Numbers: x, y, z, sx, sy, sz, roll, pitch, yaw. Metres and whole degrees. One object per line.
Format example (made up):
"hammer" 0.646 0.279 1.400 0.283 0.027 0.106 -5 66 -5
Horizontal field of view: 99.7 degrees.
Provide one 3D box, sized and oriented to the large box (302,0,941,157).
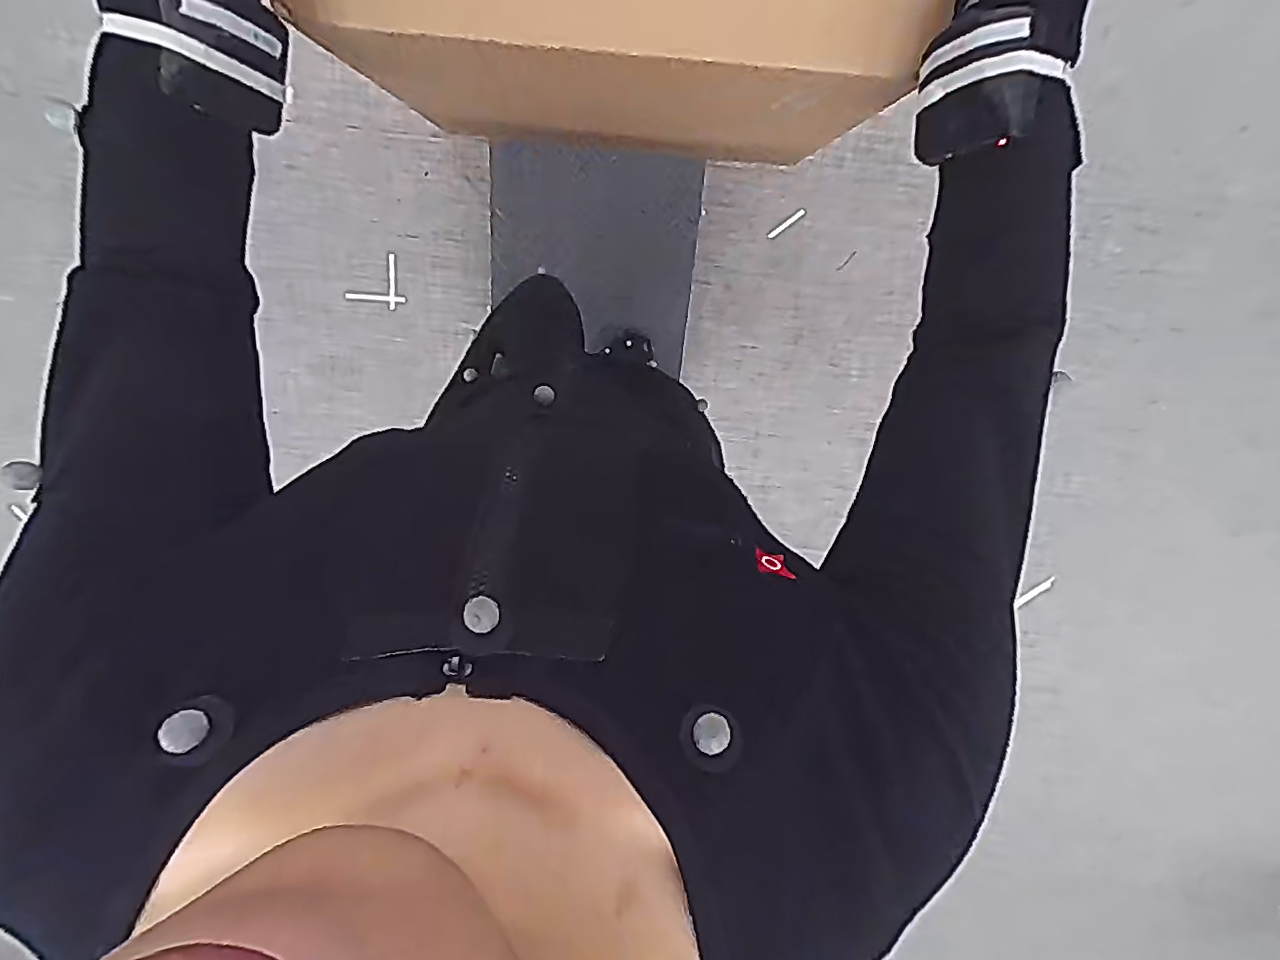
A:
"large box" -0.008 -0.470 0.427 0.408 0.320 0.320 3 112 -3
